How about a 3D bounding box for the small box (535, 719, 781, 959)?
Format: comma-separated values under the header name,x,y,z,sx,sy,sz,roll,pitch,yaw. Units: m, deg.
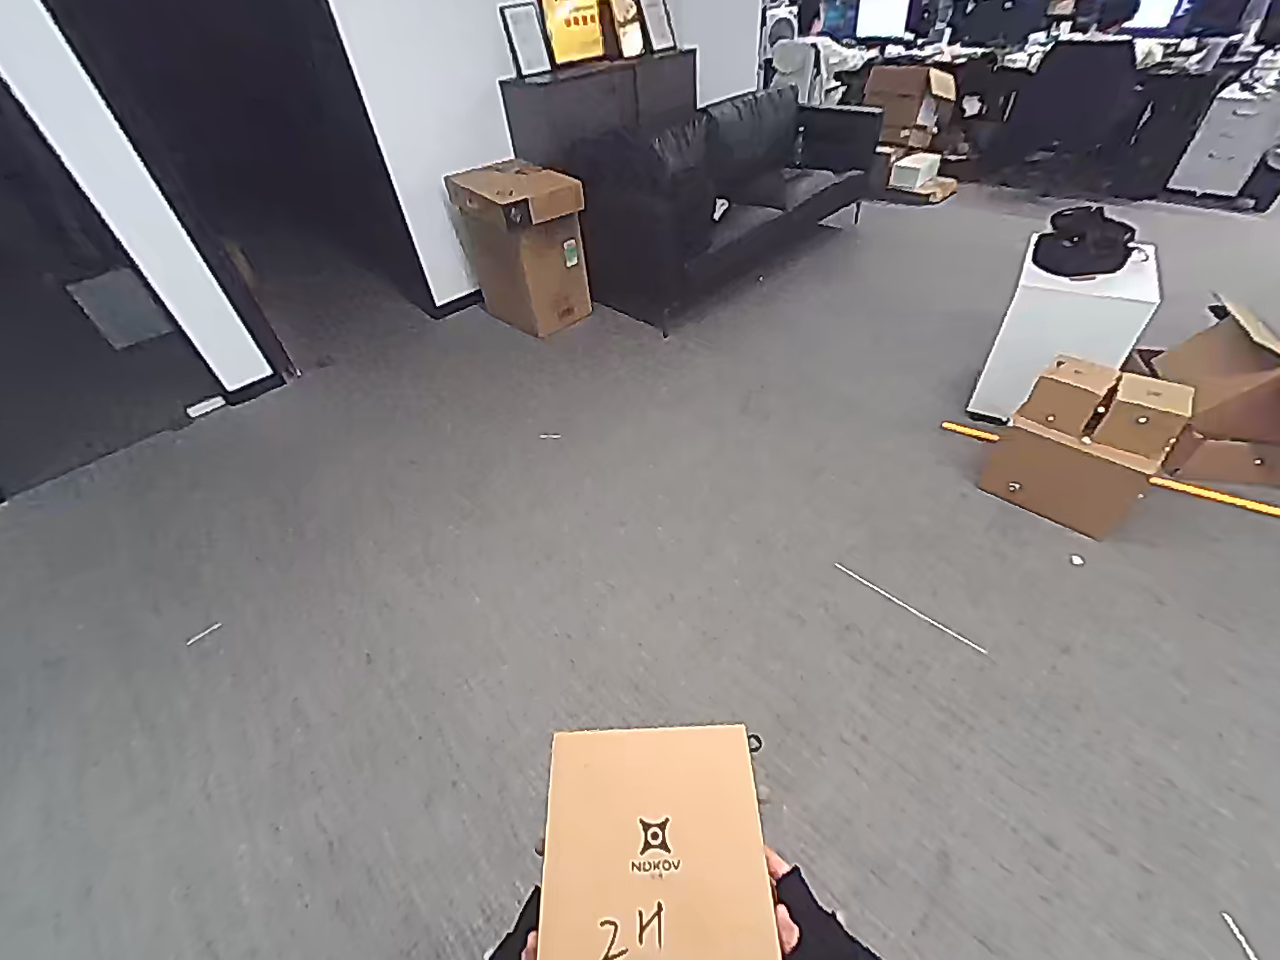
name,x,y,z,sx,sy,sz,roll,pitch,yaw
small box,0.012,0.322,0.458,0.168,0.176,0.179,-3,48,1
